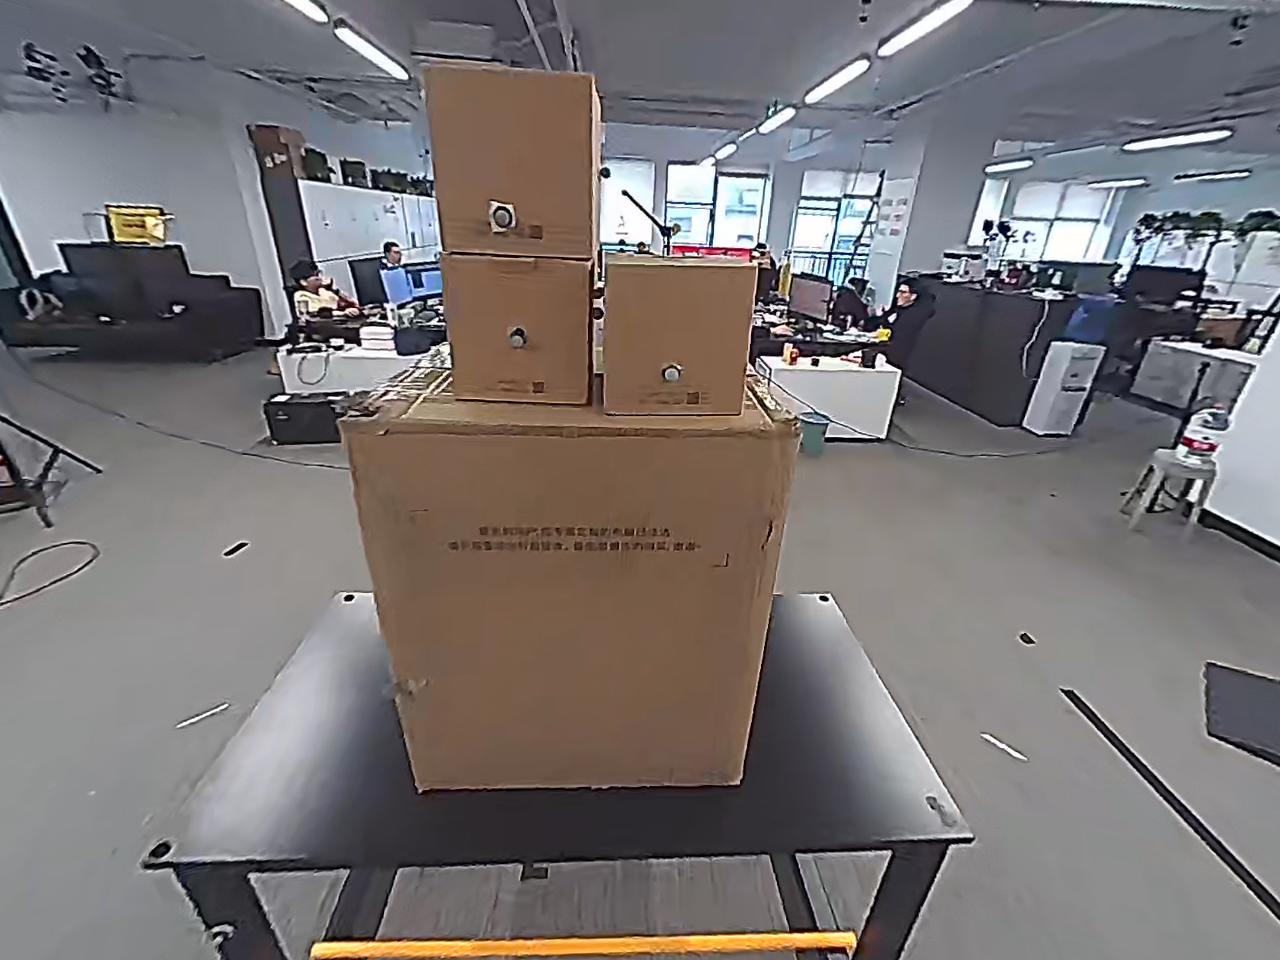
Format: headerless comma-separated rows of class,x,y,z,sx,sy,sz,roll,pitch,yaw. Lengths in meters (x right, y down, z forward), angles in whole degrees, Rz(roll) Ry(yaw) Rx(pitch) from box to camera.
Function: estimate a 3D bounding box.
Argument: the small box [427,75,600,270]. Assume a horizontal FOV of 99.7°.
small box,-0.132,-0.347,0.631,0.168,0.176,0.179,0,27,-3
